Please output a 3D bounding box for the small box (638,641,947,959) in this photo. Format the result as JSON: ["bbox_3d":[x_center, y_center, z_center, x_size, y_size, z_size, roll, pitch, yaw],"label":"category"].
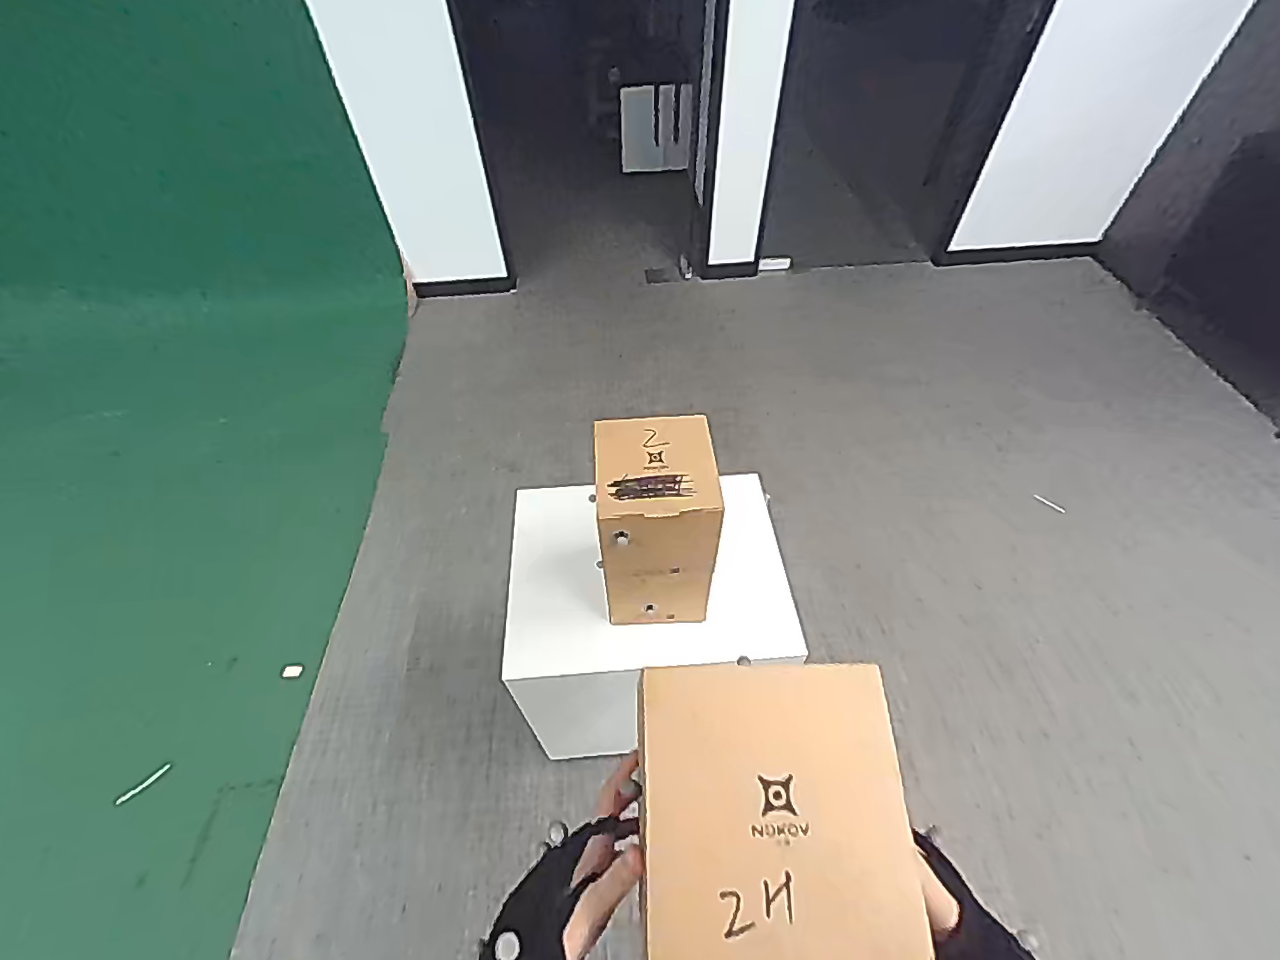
[{"bbox_3d":[0.084,0.224,0.401,0.168,0.176,0.179,0,64,-1],"label":"small box"}]

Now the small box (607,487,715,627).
[{"bbox_3d":[0.030,0.132,0.918,0.168,0.176,0.179,-2,49,0],"label":"small box"}]
